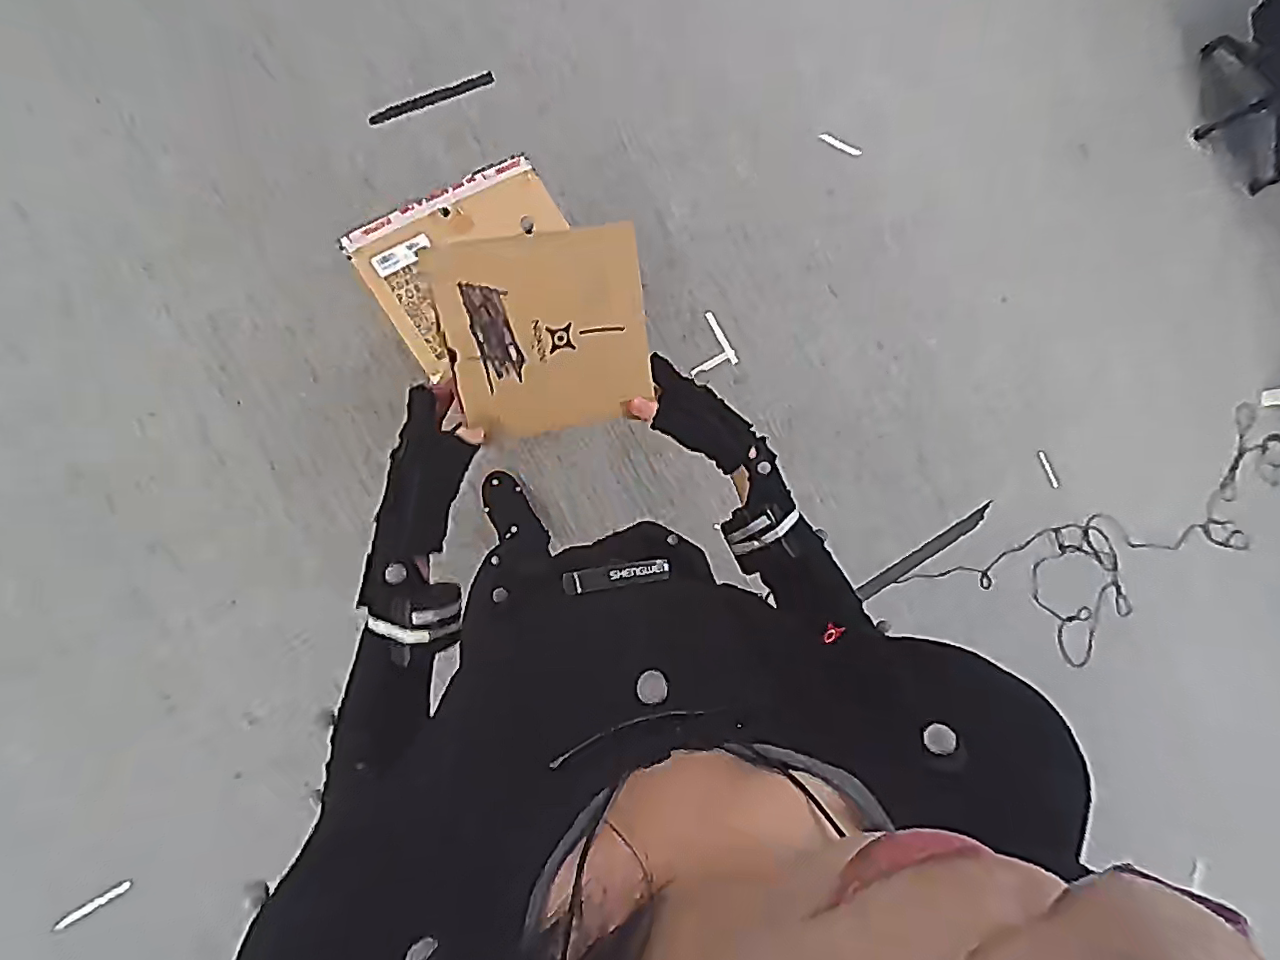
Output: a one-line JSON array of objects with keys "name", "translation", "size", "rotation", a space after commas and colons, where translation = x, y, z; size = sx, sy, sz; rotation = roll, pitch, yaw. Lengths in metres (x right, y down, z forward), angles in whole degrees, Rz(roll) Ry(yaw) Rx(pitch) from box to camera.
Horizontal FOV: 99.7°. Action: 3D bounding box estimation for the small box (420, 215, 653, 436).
[{"name": "small box", "translation": [-0.102, -0.156, 0.532], "size": [0.179, 0.176, 0.168], "rotation": [-14, 115, -14]}]
